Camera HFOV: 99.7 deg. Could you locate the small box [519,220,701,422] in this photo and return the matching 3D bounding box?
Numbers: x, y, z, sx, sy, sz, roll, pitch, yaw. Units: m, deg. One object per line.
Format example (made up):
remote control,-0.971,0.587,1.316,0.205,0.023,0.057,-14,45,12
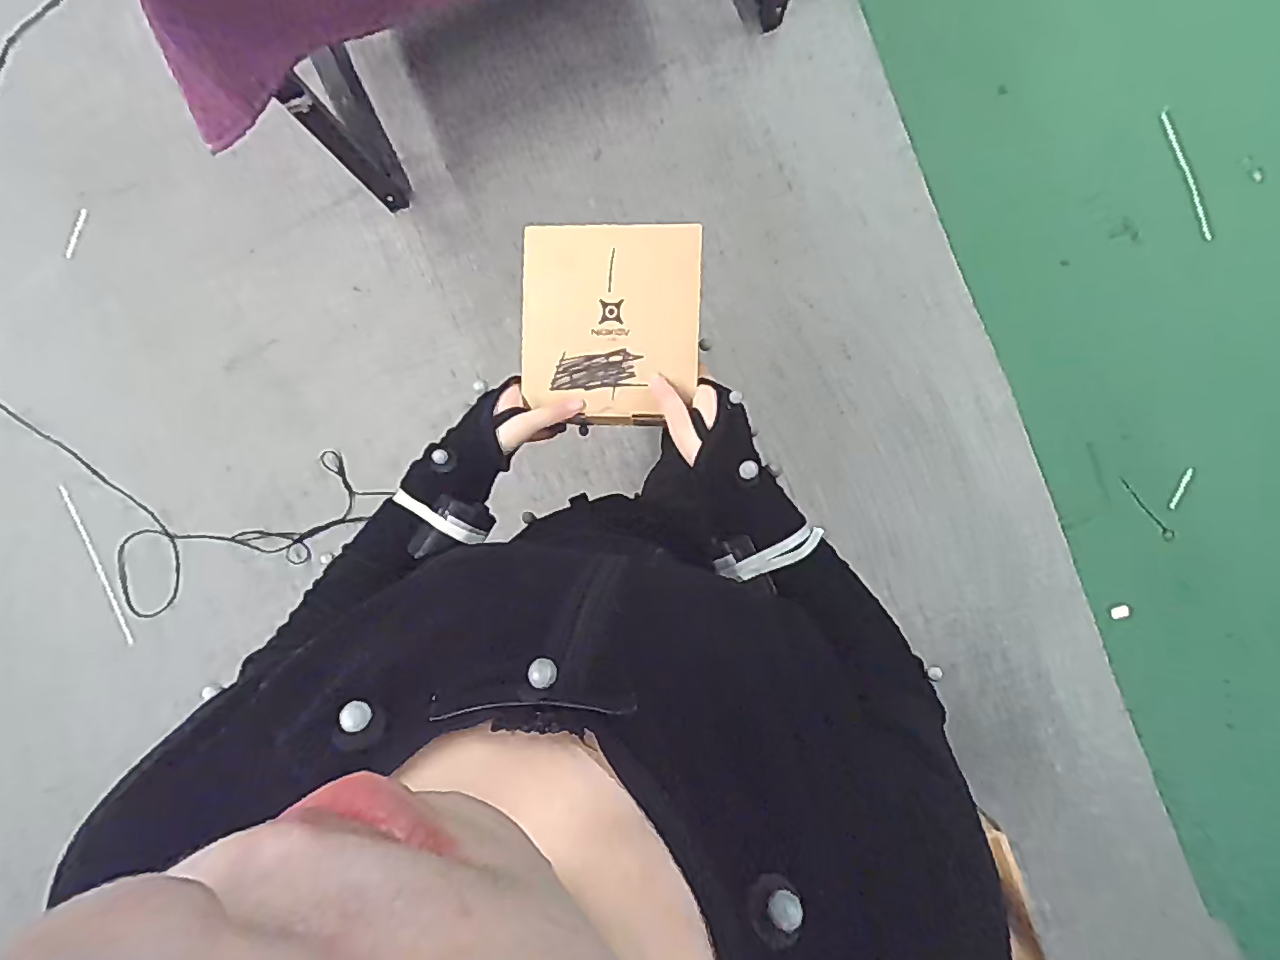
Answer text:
small box,-0.022,-0.155,0.578,0.168,0.176,0.179,2,92,6
